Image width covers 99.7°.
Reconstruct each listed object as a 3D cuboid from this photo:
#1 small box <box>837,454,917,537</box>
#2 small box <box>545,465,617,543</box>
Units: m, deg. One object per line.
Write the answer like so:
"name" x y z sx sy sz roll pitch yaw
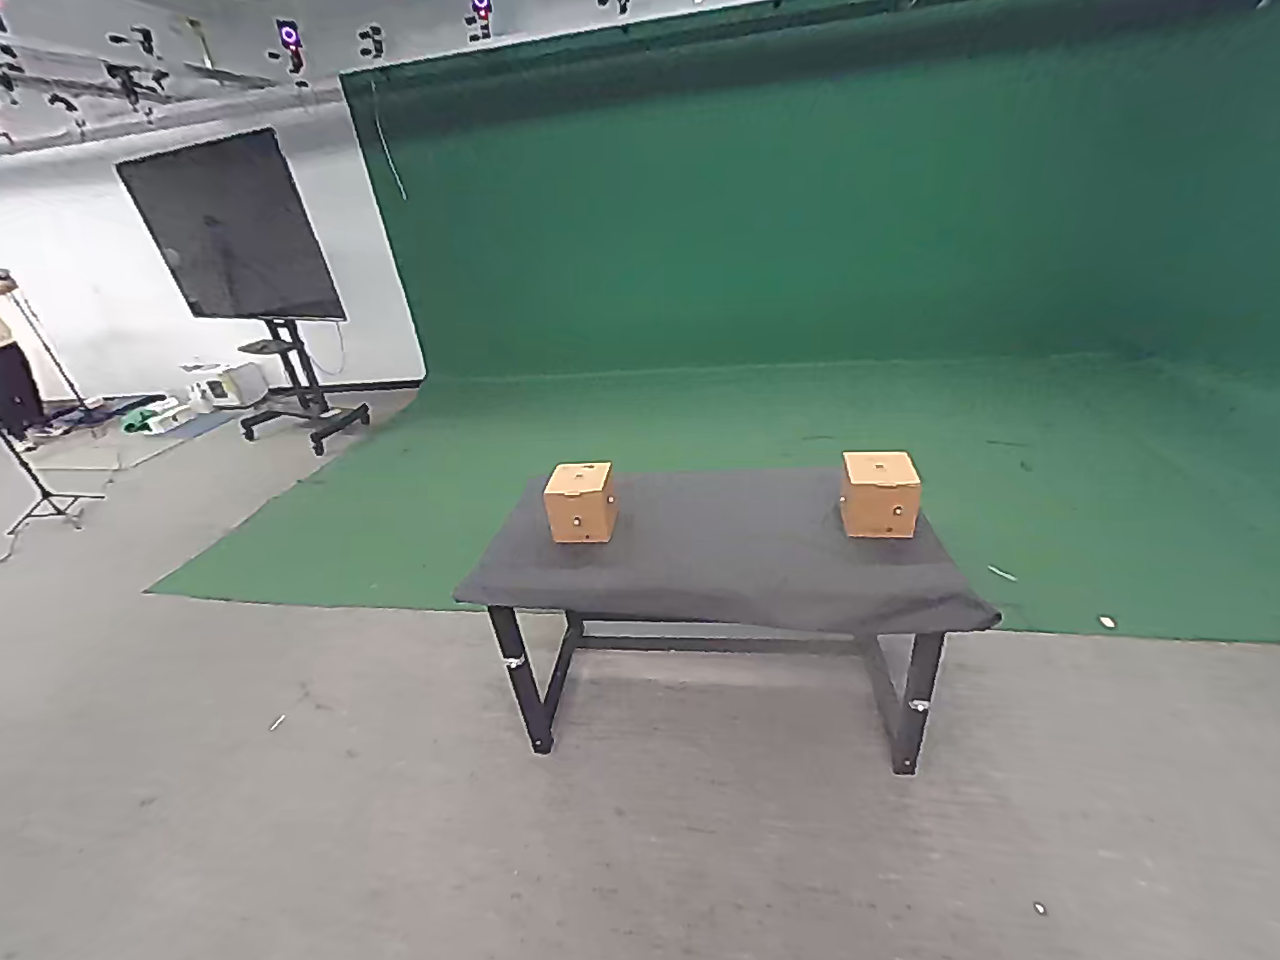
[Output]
"small box" 0.633 0.041 1.460 0.168 0.176 0.179 1 29 12
"small box" -0.165 0.073 1.584 0.168 0.176 0.179 -2 29 8
